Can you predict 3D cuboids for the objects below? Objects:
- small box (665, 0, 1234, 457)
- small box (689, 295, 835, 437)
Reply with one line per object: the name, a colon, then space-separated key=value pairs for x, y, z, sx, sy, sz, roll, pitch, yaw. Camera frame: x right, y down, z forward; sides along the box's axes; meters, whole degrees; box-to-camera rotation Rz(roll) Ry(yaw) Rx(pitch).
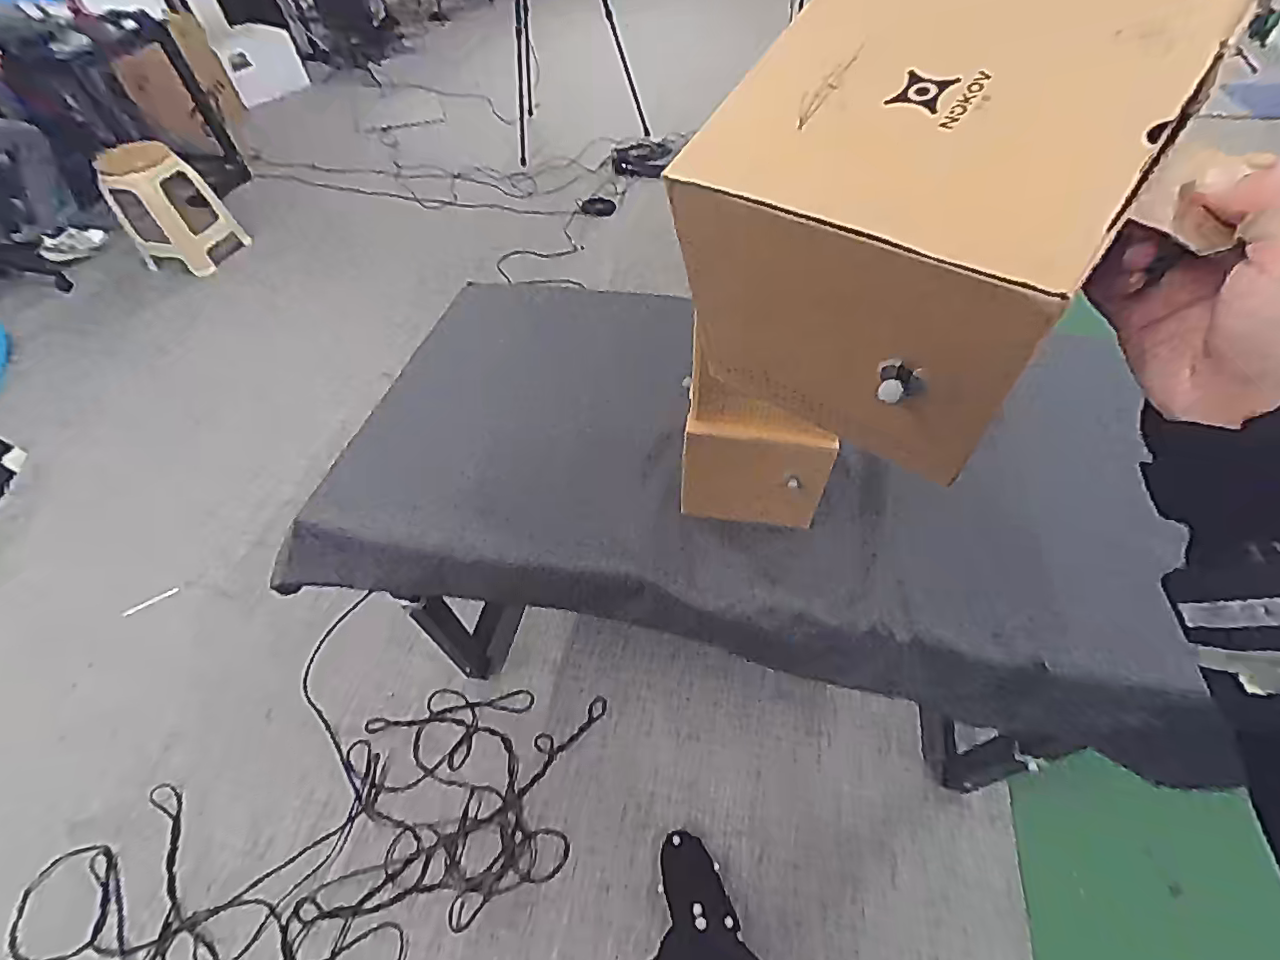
small box: x=0.144 y=-0.135 z=0.306 sx=0.179 sy=0.176 sz=0.168 roll=30 pitch=77 yaw=26
small box: x=0.154 y=-0.168 z=0.609 sx=0.179 sy=0.176 sz=0.168 roll=9 pitch=52 yaw=9
